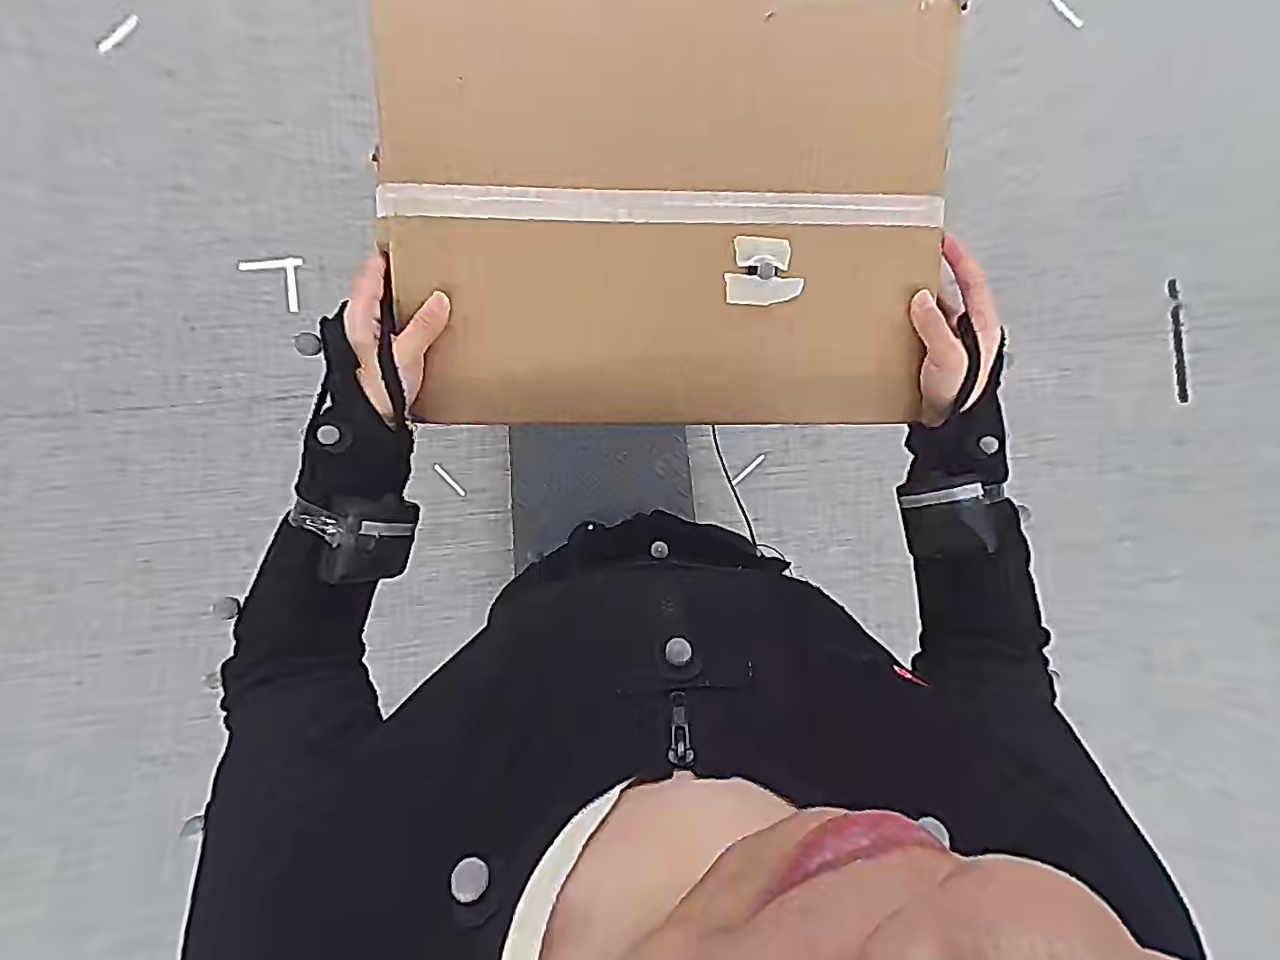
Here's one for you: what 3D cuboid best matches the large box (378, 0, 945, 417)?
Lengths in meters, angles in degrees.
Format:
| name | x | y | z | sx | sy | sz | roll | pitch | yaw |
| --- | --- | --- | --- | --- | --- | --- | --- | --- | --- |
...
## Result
| name | x | y | z | sx | sy | sz | roll | pitch | yaw |
| --- | --- | --- | --- | --- | --- | --- | --- | --- | --- |
| large box | 0.009 | -0.232 | 0.543 | 0.408 | 0.320 | 0.320 | -1 | 101 | -5 |
